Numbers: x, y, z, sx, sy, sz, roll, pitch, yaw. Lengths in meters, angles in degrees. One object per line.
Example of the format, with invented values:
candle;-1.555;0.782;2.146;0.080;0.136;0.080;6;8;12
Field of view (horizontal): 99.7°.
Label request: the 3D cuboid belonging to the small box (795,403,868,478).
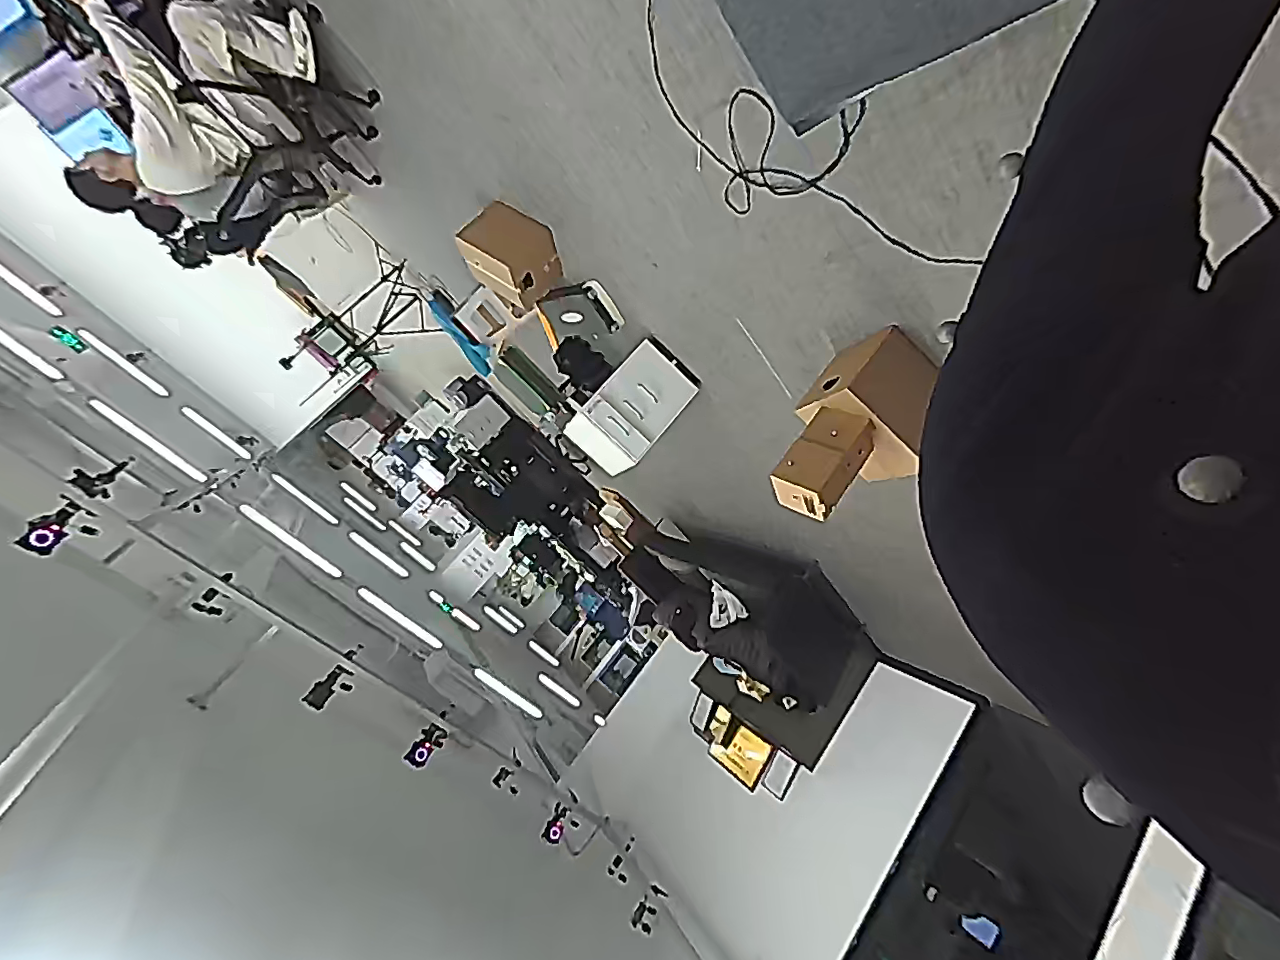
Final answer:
small box;0.656;-0.139;1.833;0.179;0.176;0.168;24;157;39
